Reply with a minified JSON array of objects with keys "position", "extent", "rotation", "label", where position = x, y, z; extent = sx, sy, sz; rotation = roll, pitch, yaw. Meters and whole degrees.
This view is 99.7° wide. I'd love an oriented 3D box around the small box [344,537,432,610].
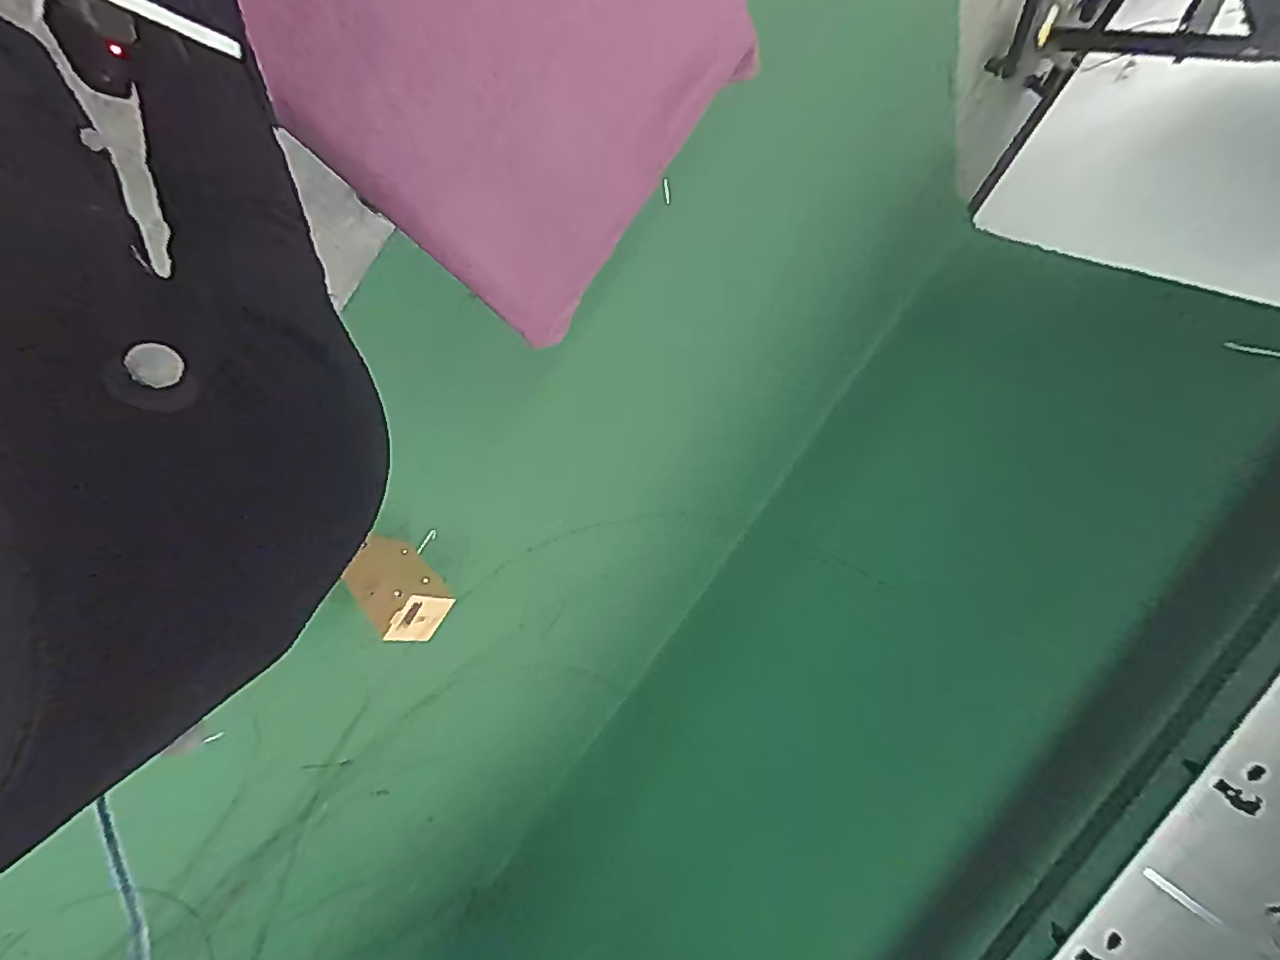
[{"position":[-0.838,0.307,1.789],"extent":[0.168,0.176,0.179],"rotation":[-55,148,2],"label":"small box"}]
